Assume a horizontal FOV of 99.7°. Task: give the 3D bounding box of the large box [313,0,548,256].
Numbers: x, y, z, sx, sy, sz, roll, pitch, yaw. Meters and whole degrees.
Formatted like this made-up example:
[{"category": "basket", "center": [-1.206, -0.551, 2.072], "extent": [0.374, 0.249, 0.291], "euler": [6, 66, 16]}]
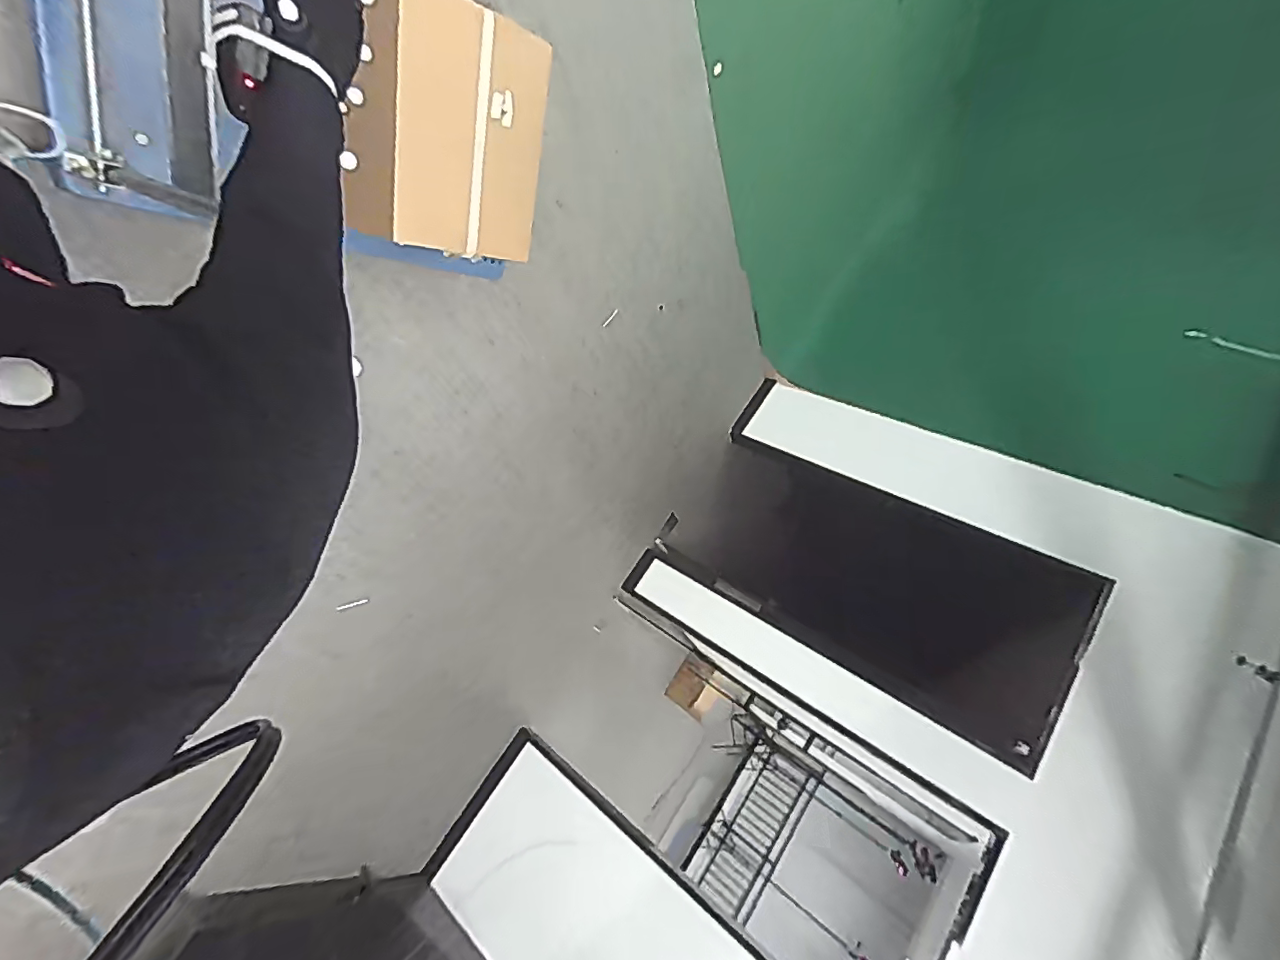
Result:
[{"category": "large box", "center": [-0.420, -0.696, 1.082], "extent": [0.320, 0.320, 0.408], "euler": [-18, 127, -50]}]
